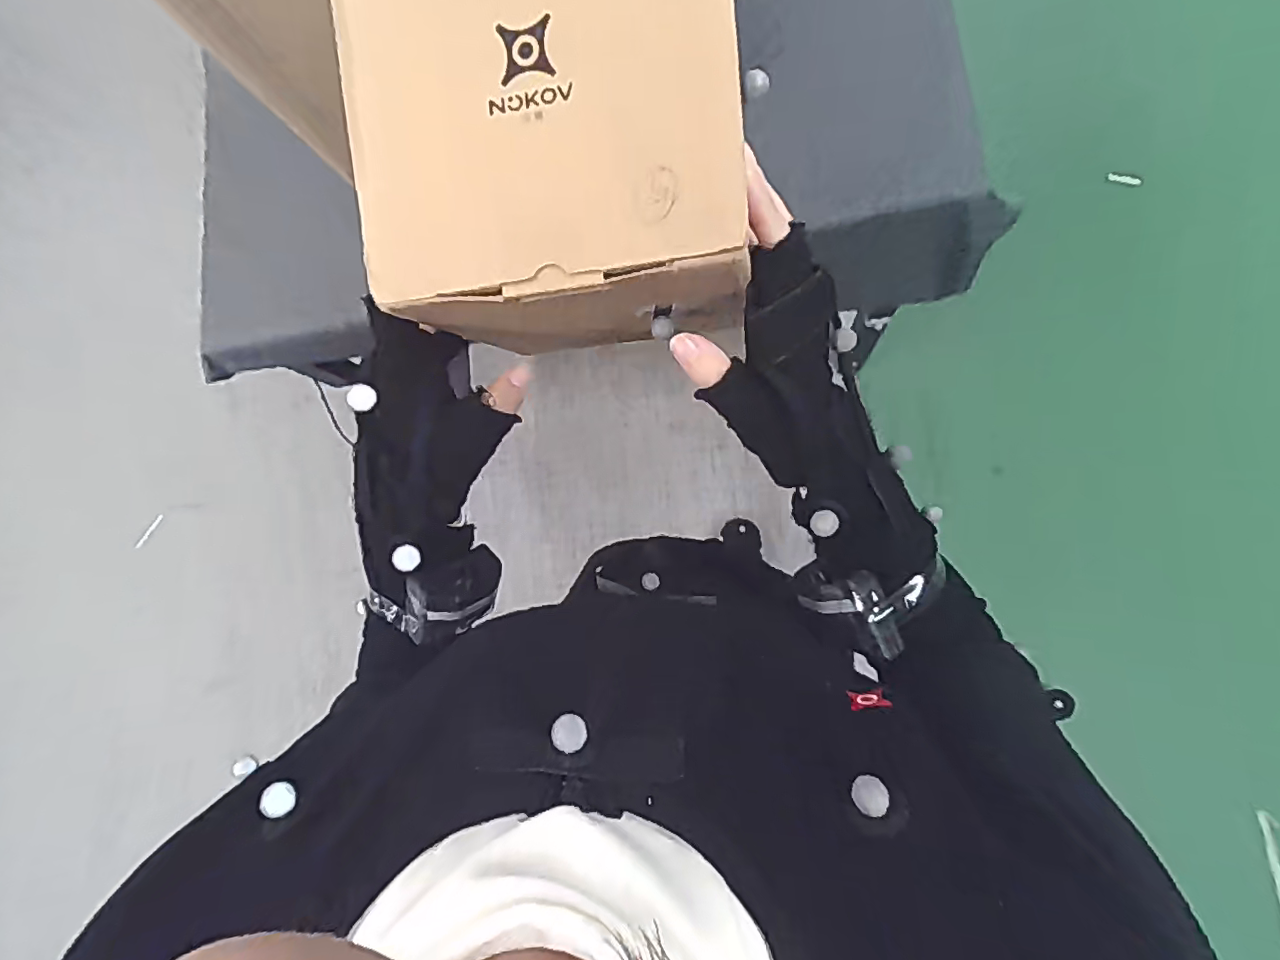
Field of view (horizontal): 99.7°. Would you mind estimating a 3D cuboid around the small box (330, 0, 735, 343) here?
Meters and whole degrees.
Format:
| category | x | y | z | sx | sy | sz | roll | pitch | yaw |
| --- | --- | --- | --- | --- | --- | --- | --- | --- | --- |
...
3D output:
| category | x | y | z | sx | sy | sz | roll | pitch | yaw |
| --- | --- | --- | --- | --- | --- | --- | --- | --- | --- |
| small box | -0.035 | -0.178 | 0.301 | 0.168 | 0.176 | 0.179 | -5 | 94 | 10 |
